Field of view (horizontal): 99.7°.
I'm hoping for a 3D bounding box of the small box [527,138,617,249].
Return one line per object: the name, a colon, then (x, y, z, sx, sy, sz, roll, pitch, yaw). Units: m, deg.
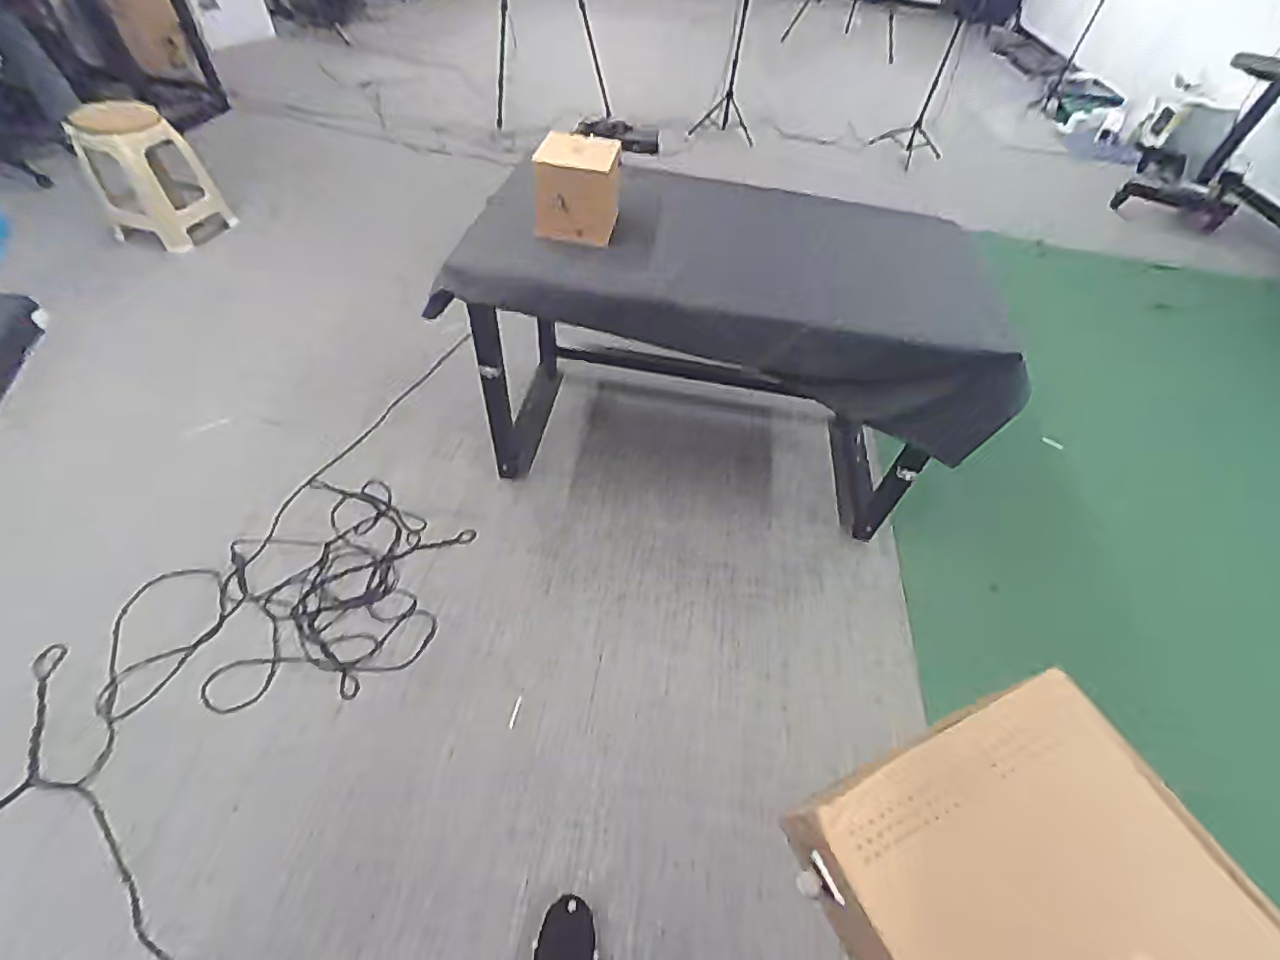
small box: (-0.148, -0.646, 1.226, 0.168, 0.176, 0.179, 8, 49, 0)
